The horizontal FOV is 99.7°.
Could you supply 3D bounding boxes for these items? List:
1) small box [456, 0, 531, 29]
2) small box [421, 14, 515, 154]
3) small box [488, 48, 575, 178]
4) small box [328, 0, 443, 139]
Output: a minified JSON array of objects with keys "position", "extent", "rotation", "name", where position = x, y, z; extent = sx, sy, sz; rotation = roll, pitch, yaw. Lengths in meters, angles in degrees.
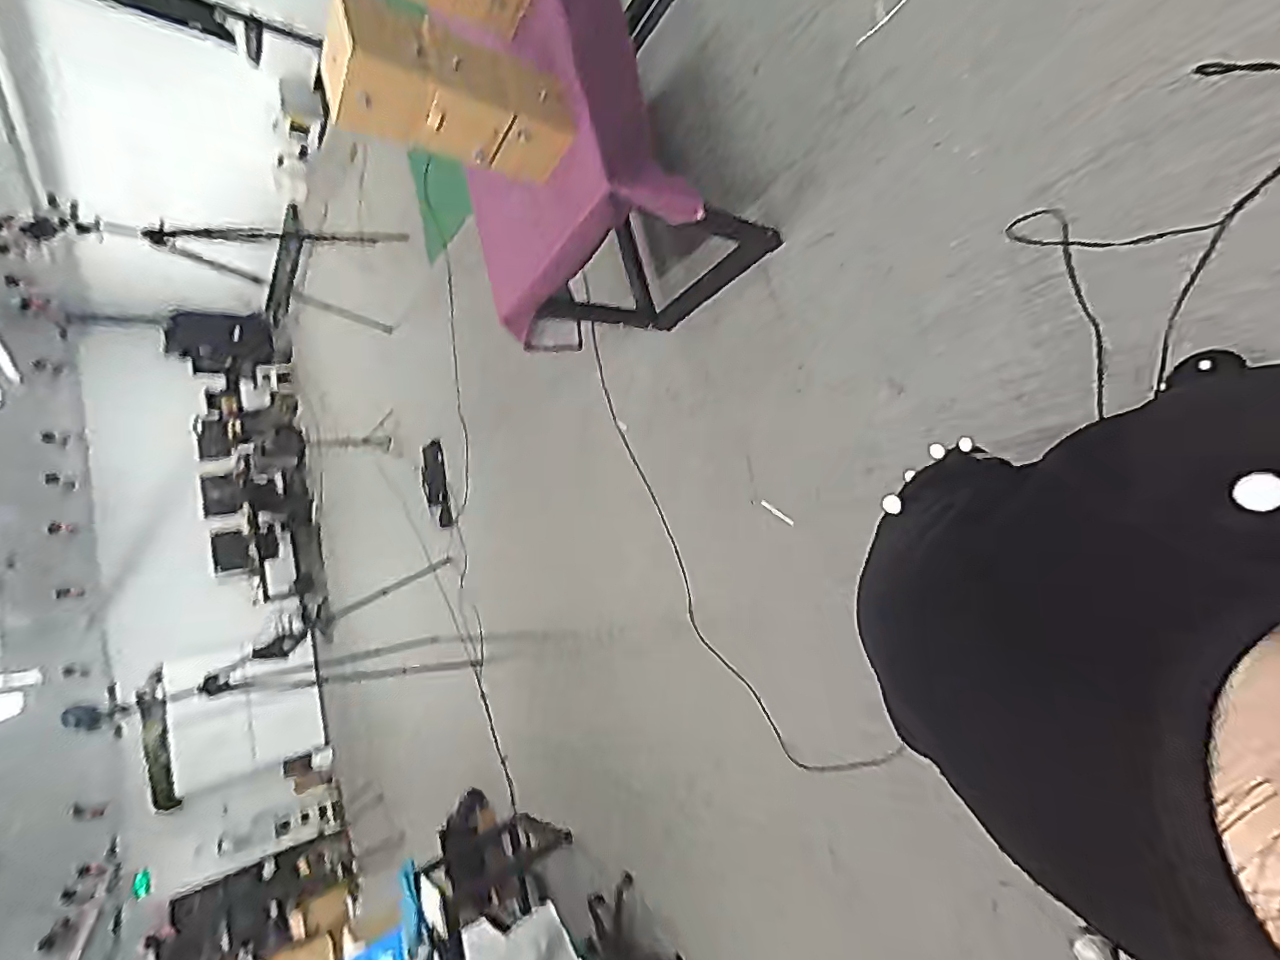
[{"position":[-0.378,-1.318,1.390],"extent":[0.168,0.176,0.179],"rotation":[-26,76,47],"name":"small box"},{"position":[-0.398,-0.872,1.218],"extent":[0.168,0.176,0.179],"rotation":[-25,75,48],"name":"small box"},{"position":[-0.275,-0.887,1.326],"extent":[0.179,0.176,0.168],"rotation":[-24,76,48],"name":"small box"},{"position":[-0.527,-0.856,1.119],"extent":[0.179,0.176,0.168],"rotation":[-27,75,47],"name":"small box"}]
